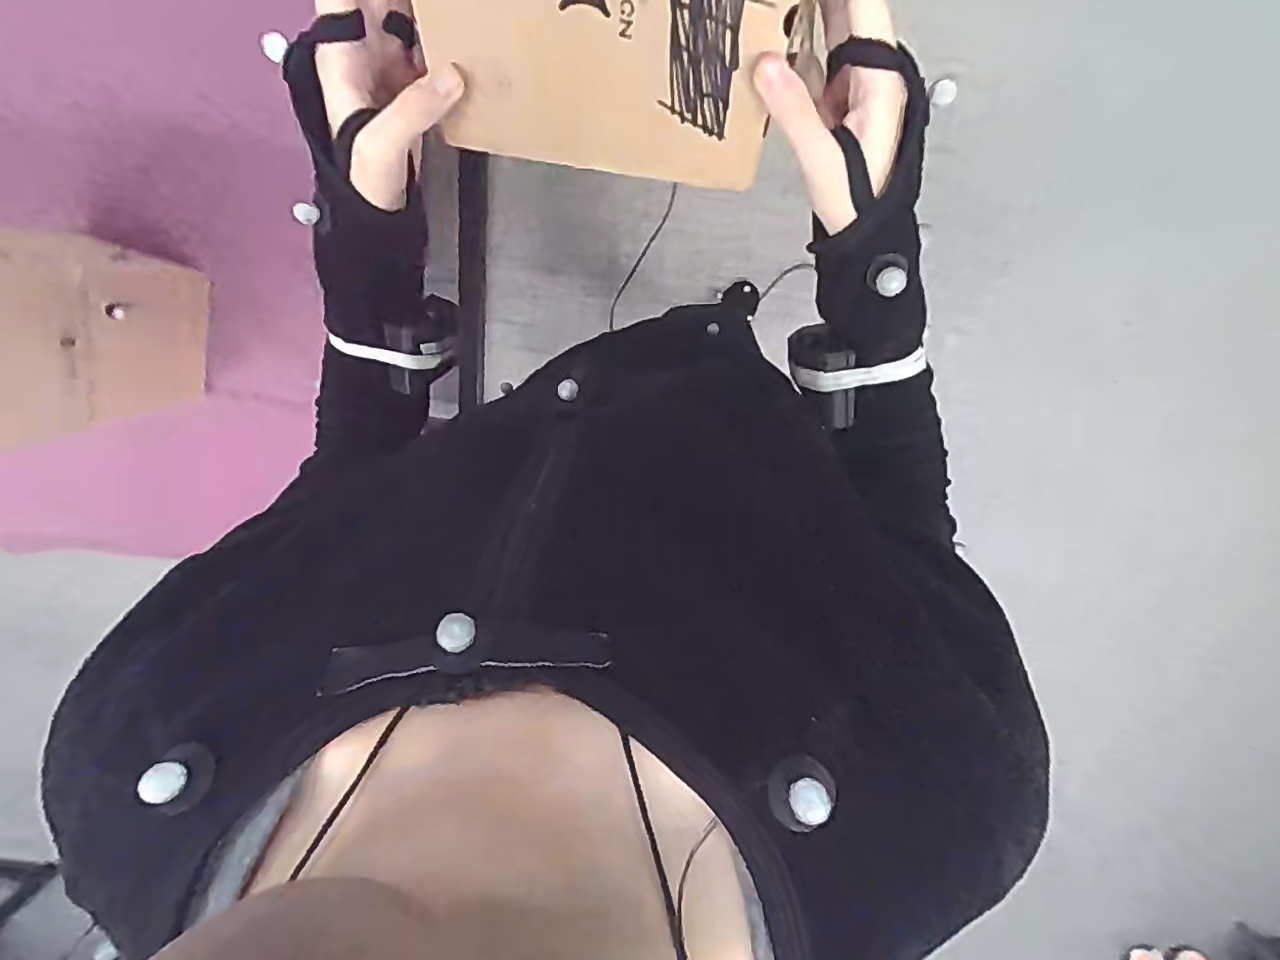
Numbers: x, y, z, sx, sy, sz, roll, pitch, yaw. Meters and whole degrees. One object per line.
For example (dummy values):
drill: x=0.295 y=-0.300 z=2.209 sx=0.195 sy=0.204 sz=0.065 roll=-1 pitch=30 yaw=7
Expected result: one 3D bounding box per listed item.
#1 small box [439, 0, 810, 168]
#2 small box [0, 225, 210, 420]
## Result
small box: x=0.000 y=-0.301 z=0.274 sx=0.179 sy=0.168 sz=0.176 roll=9 pitch=64 yaw=-3
small box: x=-0.672 y=-0.192 z=0.661 sx=0.168 sy=0.176 sz=0.179 roll=17 pitch=107 yaw=-2
